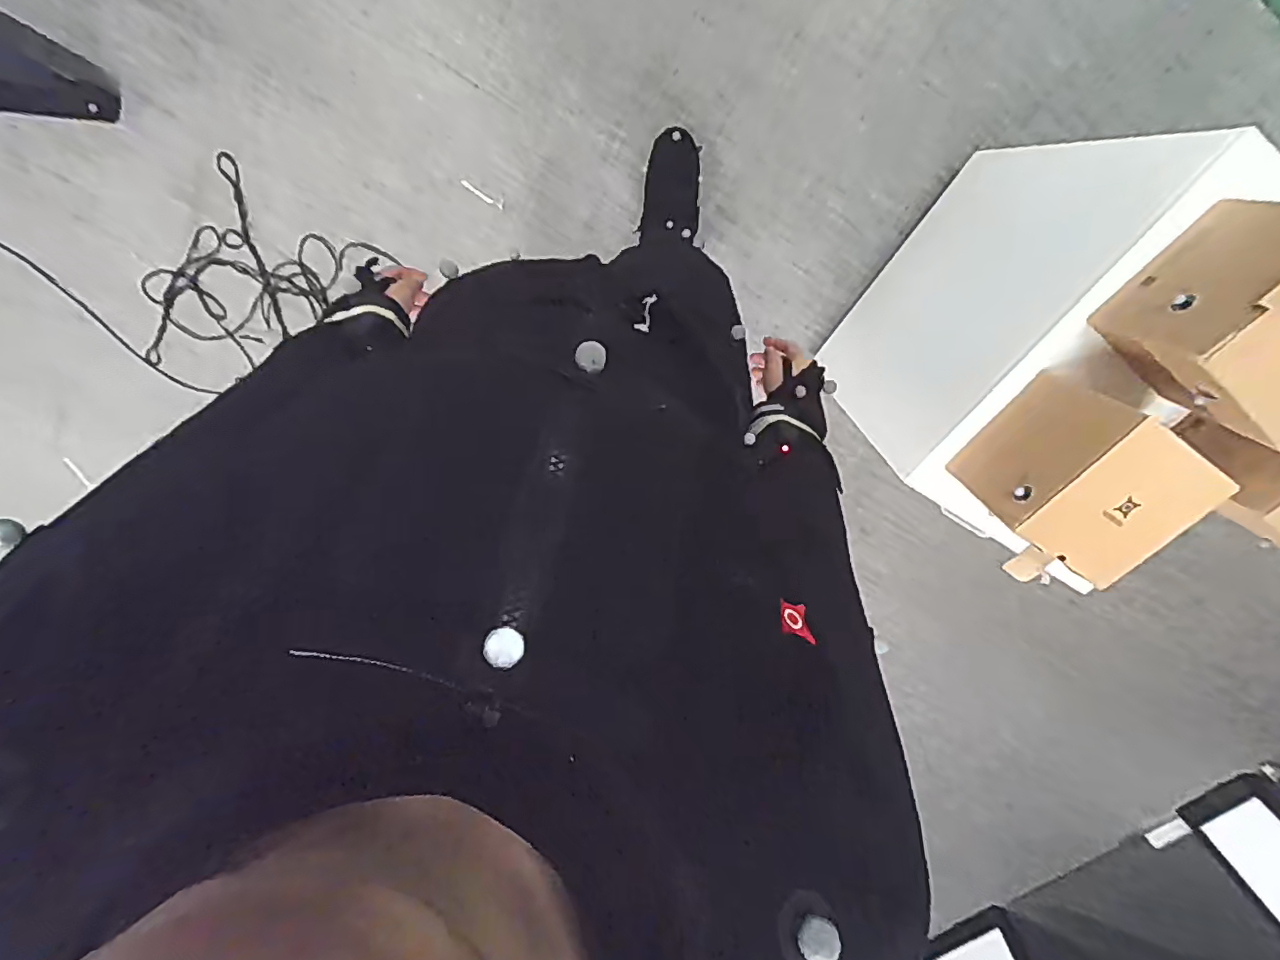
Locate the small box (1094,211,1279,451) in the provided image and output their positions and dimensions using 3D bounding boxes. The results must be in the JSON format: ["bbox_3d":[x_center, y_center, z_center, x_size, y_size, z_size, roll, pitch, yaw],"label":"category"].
[{"bbox_3d":[0.660,-0.167,0.584,0.179,0.176,0.168,31,116,-17],"label":"small box"}]
